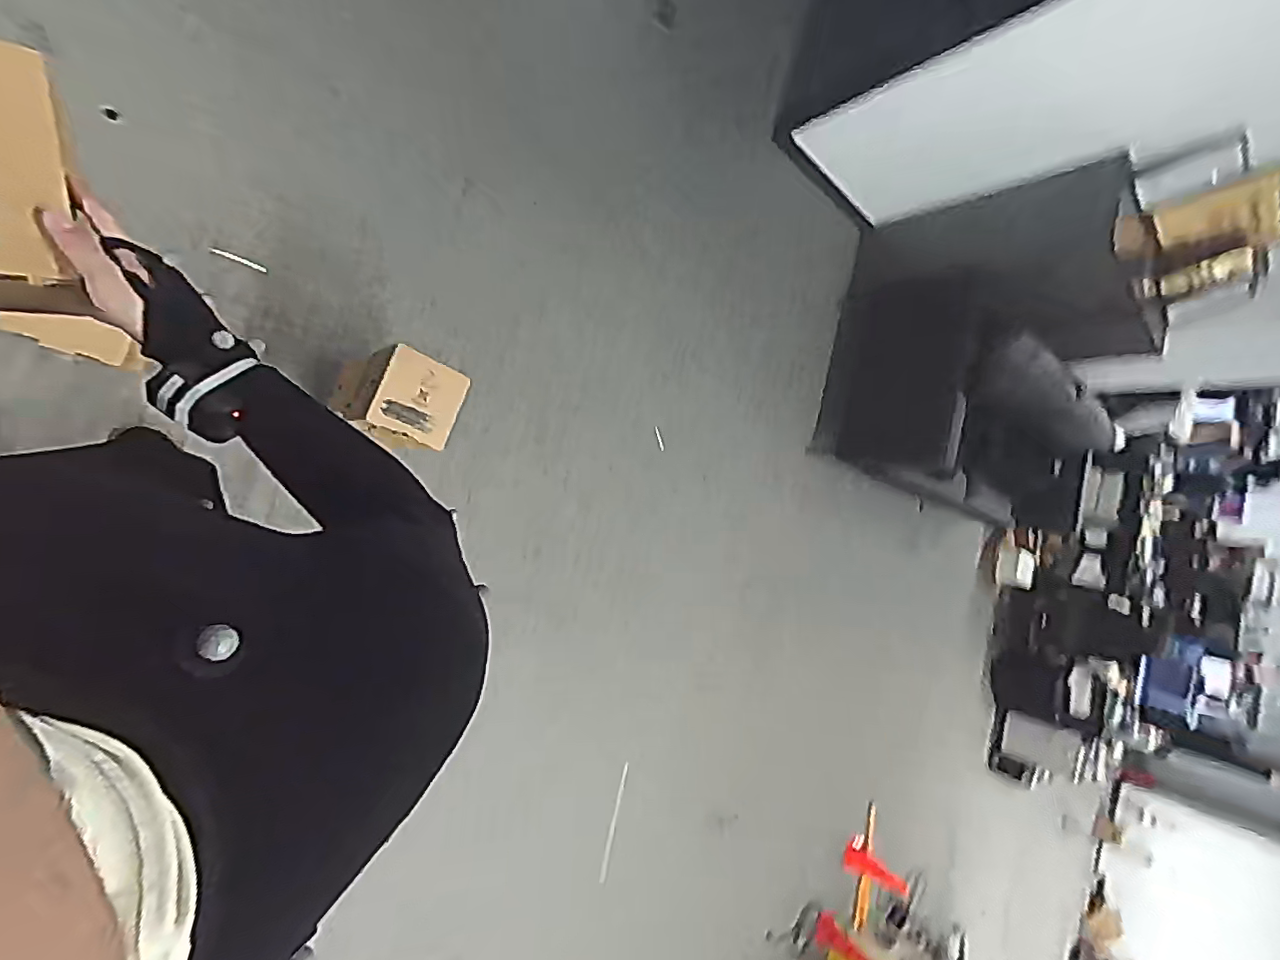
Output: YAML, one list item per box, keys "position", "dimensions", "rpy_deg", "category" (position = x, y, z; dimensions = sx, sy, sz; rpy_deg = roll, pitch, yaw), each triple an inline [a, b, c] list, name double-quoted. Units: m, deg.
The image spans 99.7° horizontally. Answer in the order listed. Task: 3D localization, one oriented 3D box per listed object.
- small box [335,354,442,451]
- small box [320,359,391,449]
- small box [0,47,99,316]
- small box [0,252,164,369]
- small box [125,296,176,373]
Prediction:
- position: [-0.614, -0.184, 1.311]
  dimensions: [0.168, 0.176, 0.179]
  rpy_deg: [25, 80, -38]
  category: "small box"
- position: [-0.720, -0.197, 1.431]
  dimensions: [0.168, 0.176, 0.179]
  rpy_deg: [31, 77, -34]
  category: "small box"
- position: [-0.572, -0.236, 0.437]
  dimensions: [0.168, 0.176, 0.179]
  rpy_deg: [-10, 99, -40]
  category: "small box"
- position: [-1.003, -0.314, 0.985]
  dimensions: [0.168, 0.176, 0.179]
  rpy_deg: [24, 82, -38]
  category: "small box"
- position: [-1.100, -0.331, 1.116]
  dimensions: [0.179, 0.176, 0.168]
  rpy_deg: [24, 81, -38]
  category: "small box"
